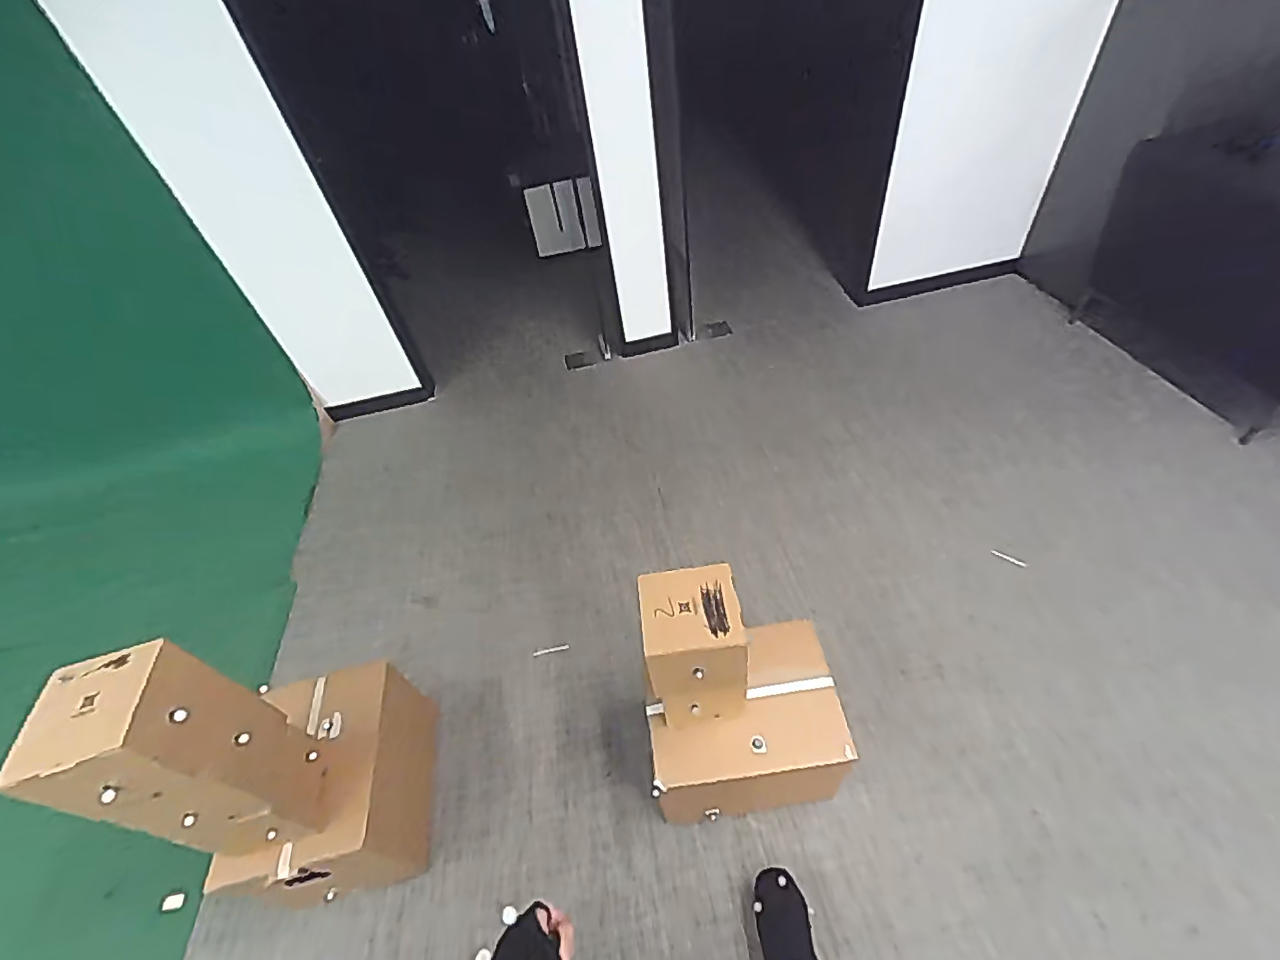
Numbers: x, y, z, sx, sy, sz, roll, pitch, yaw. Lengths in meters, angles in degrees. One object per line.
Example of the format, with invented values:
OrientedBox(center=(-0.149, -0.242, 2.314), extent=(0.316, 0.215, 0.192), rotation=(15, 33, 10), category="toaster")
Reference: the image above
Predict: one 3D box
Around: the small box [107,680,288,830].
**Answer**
OrientedBox(center=(-0.760, 0.492, 0.956), extent=(0.168, 0.176, 0.179), rotation=(-17, 46, -7), category="small box")

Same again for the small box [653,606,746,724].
OrientedBox(center=(0.124, 0.391, 1.128), extent=(0.168, 0.176, 0.179), rotation=(-9, 44, 1), category="small box")

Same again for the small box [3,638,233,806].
OrientedBox(center=(-0.779, 0.380, 0.837), extent=(0.168, 0.176, 0.179), rotation=(-16, 47, -5), category="small box")

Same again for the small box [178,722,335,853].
OrientedBox(center=(-0.739, 0.609, 1.069), extent=(0.179, 0.176, 0.168), rotation=(-15, 46, -3), category="small box")

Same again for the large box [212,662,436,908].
OrientedBox(center=(-0.706, 0.722, 1.294), extent=(0.320, 0.320, 0.408), rotation=(-13, 45, -3), category="large box")
